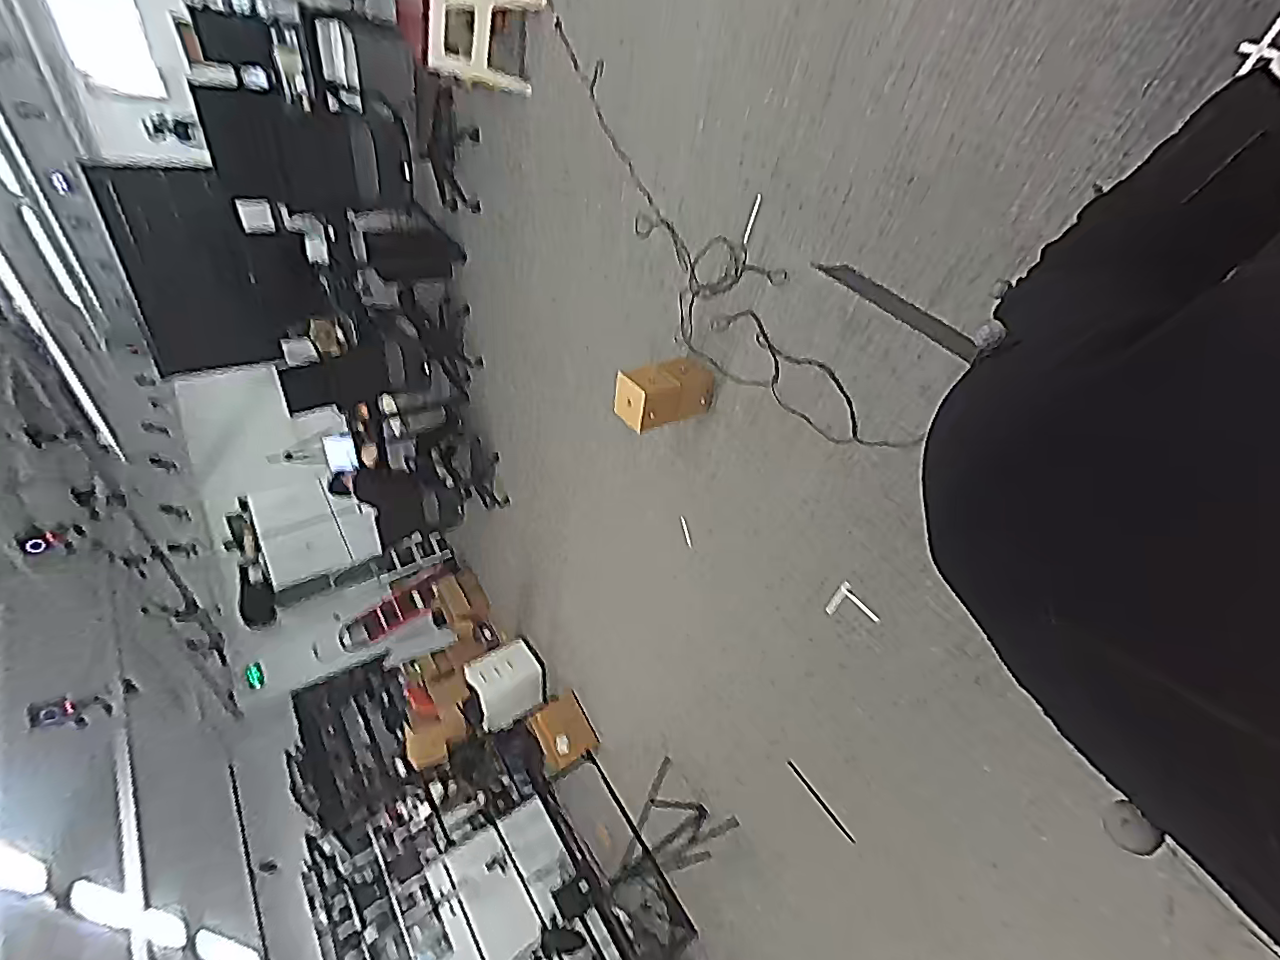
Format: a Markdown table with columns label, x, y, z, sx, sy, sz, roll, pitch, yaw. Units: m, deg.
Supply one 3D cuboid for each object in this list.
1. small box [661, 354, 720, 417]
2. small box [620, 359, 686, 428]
| label | x | y | z | sx | sy | sz | roll | pitch | yaw |
| --- | --- | --- | --- | --- | --- | --- | --- | --- | --- |
| small box | 0.178 | -0.370 | 2.072 | 0.179 | 0.176 | 0.168 | 43 | 141 | 35 |
| small box | 0.048 | -0.324 | 1.987 | 0.168 | 0.176 | 0.179 | 45 | 143 | 34 |
